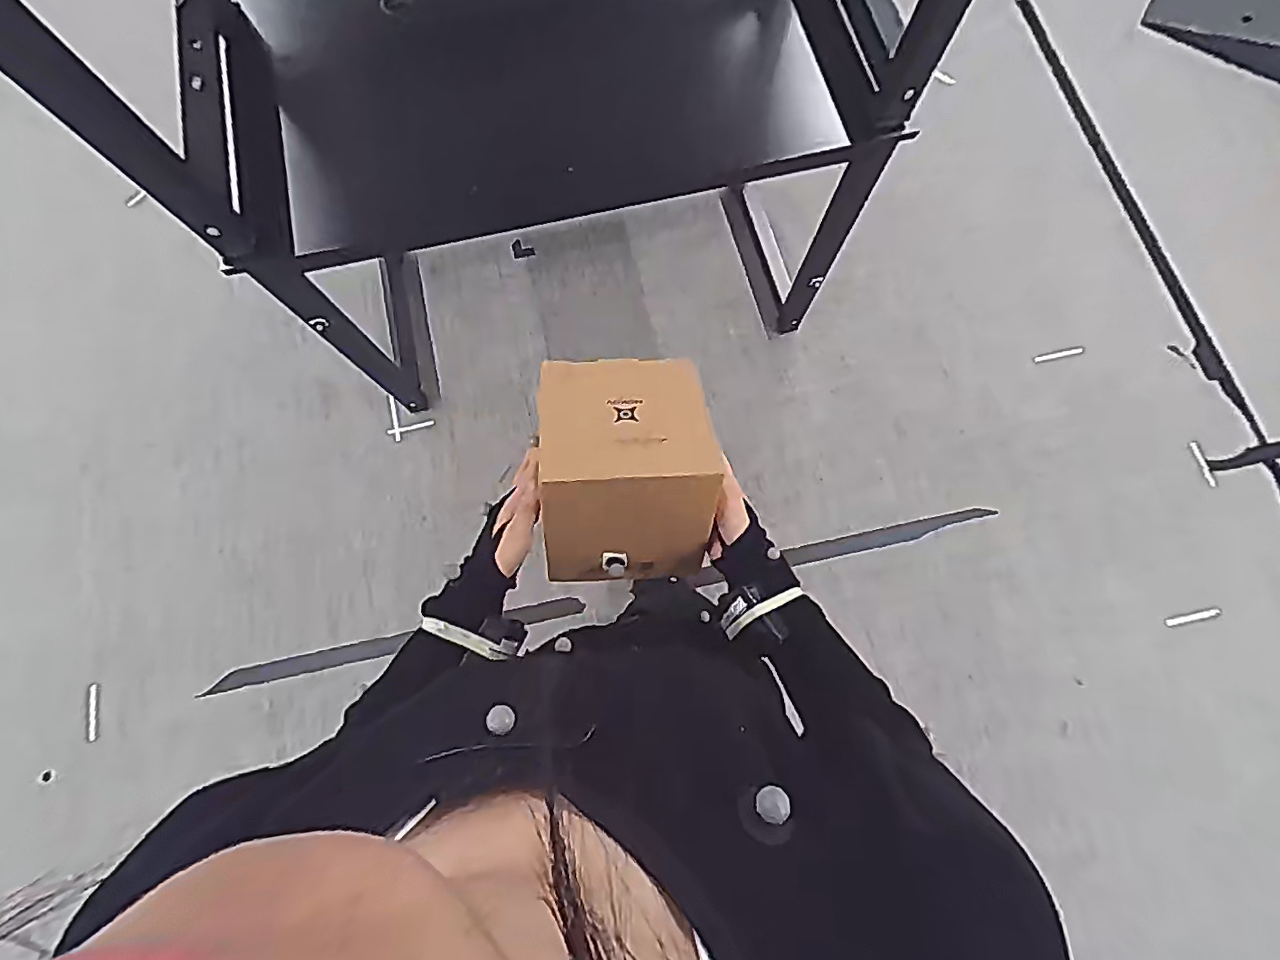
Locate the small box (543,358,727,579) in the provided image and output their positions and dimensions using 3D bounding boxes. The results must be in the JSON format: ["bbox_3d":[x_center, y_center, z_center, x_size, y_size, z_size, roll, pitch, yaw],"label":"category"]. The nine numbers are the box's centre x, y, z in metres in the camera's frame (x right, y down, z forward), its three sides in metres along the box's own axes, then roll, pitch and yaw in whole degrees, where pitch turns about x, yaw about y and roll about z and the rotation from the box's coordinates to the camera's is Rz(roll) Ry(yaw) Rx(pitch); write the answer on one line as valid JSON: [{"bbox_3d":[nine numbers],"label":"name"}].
[{"bbox_3d":[-0.018,-0.014,0.586,0.168,0.176,0.179,-3,48,-7],"label":"small box"}]
